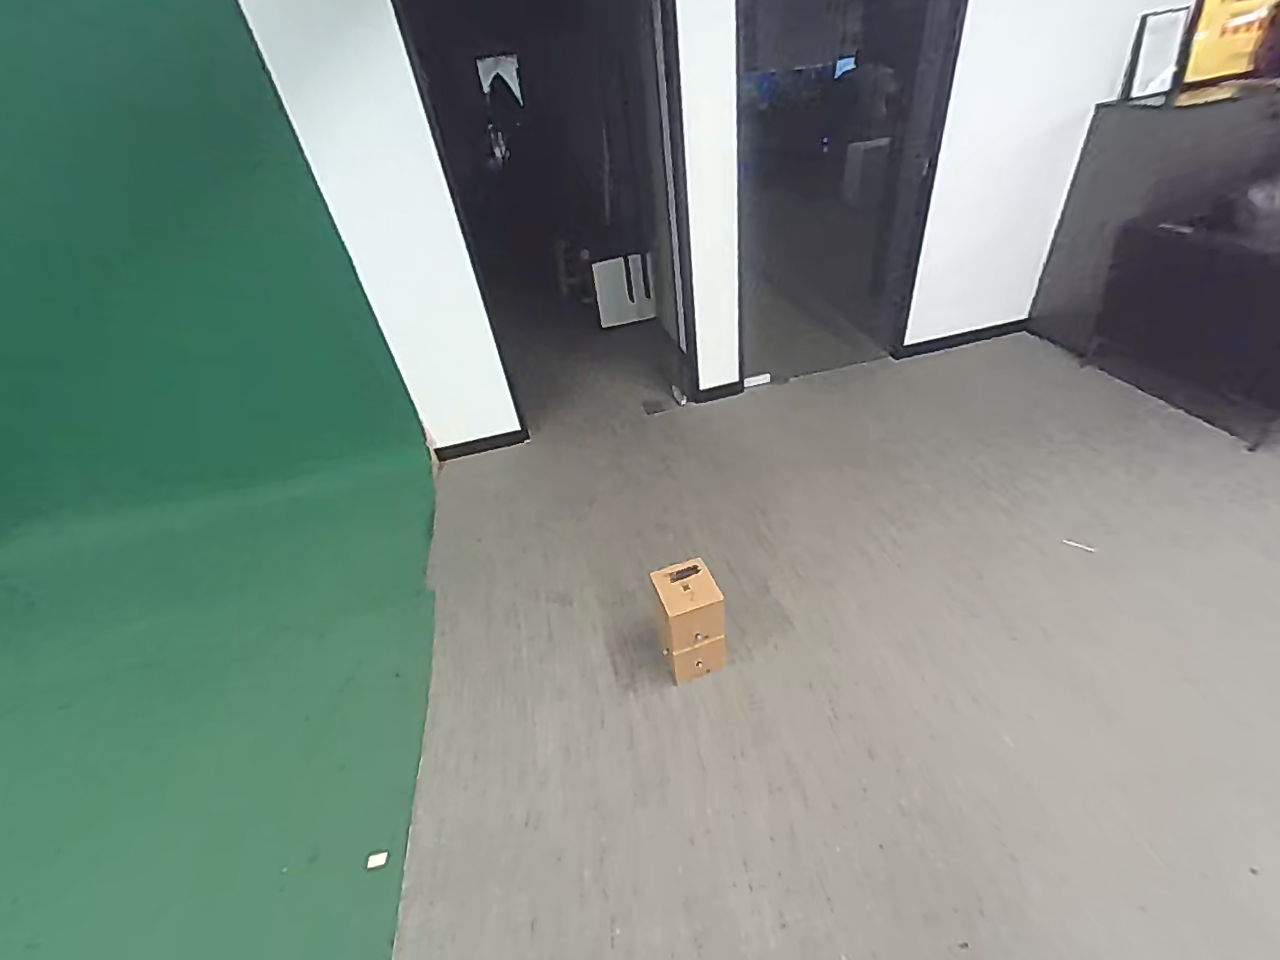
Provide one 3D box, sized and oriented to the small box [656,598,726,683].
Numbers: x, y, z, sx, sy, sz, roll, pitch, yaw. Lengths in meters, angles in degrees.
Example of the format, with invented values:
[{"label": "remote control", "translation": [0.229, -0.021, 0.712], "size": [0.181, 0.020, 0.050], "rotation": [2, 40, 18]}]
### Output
[{"label": "small box", "translation": [0.162, 0.506, 1.689], "size": [0.168, 0.176, 0.179], "rotation": [-16, 39, -10]}]
